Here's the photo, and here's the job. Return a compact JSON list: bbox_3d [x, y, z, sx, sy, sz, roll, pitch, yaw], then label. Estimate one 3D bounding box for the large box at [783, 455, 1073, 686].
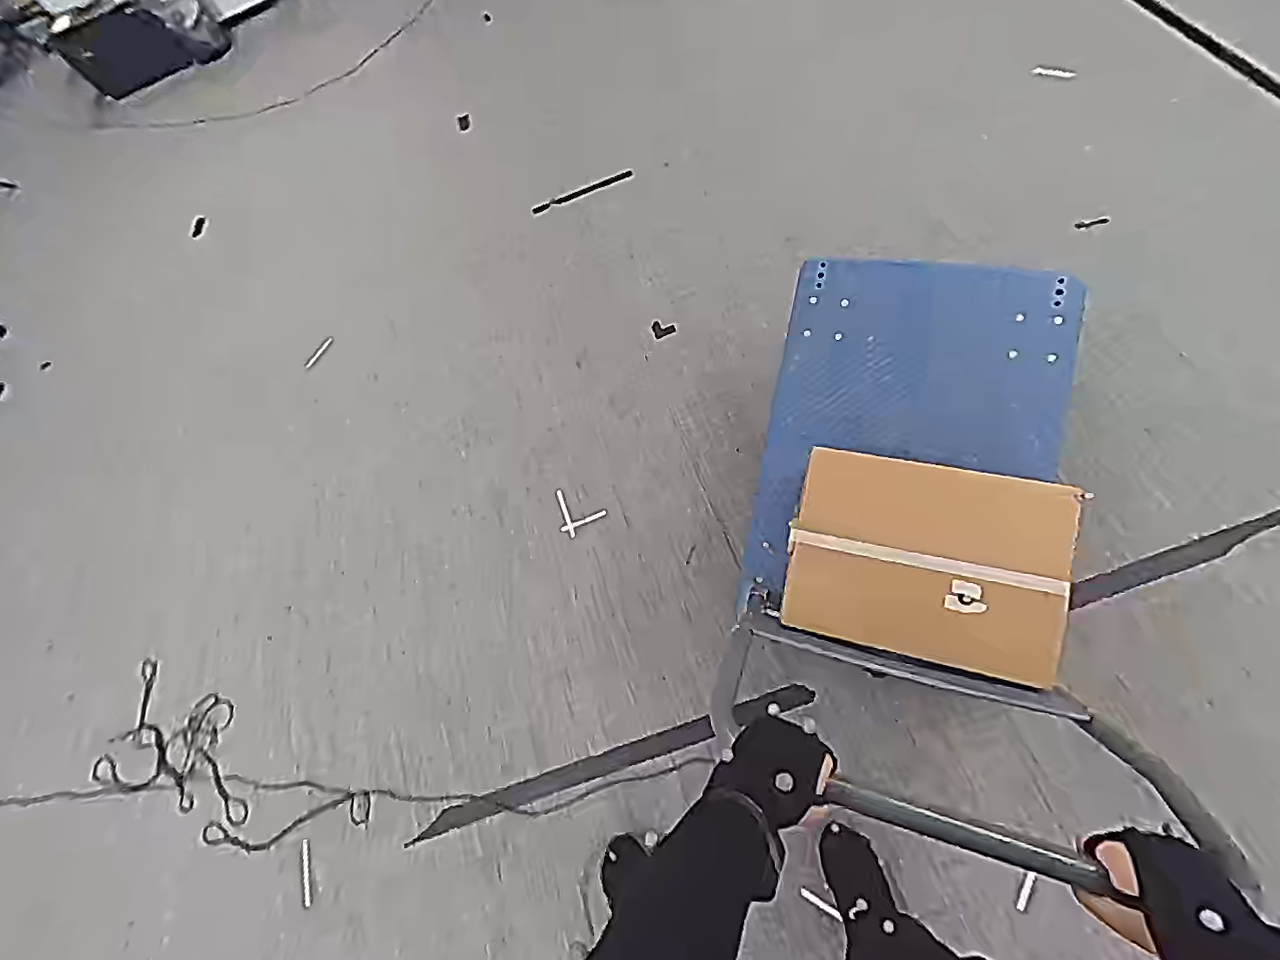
[{"bbox_3d":[0.498,0.152,1.031,0.408,0.320,0.320,11,88,16],"label":"large box"}]
